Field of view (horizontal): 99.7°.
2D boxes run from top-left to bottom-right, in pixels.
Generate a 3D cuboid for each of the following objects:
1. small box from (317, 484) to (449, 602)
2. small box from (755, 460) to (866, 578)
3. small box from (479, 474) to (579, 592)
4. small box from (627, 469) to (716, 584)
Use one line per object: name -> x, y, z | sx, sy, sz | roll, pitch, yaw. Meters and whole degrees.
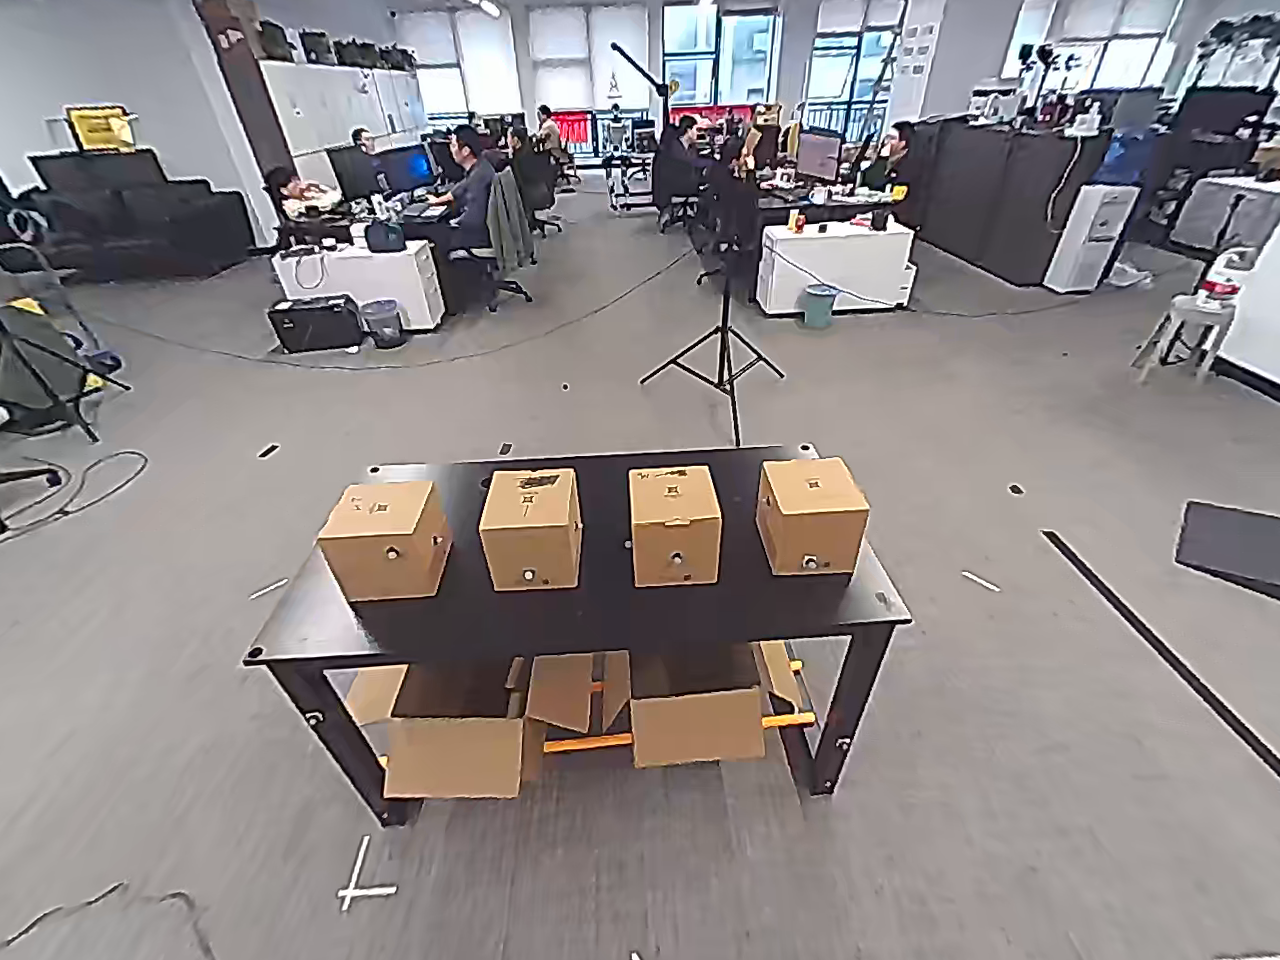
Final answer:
small box -> -0.499, 0.126, 1.085 | 0.179, 0.176, 0.168 | -3, 35, -2
small box -> 0.338, 0.079, 1.110 | 0.168, 0.176, 0.179 | -4, 36, 0
small box -> -0.215, 0.107, 1.100 | 0.168, 0.176, 0.179 | -3, 36, -1
small box -> 0.061, 0.098, 1.099 | 0.168, 0.176, 0.179 | -3, 36, -1
